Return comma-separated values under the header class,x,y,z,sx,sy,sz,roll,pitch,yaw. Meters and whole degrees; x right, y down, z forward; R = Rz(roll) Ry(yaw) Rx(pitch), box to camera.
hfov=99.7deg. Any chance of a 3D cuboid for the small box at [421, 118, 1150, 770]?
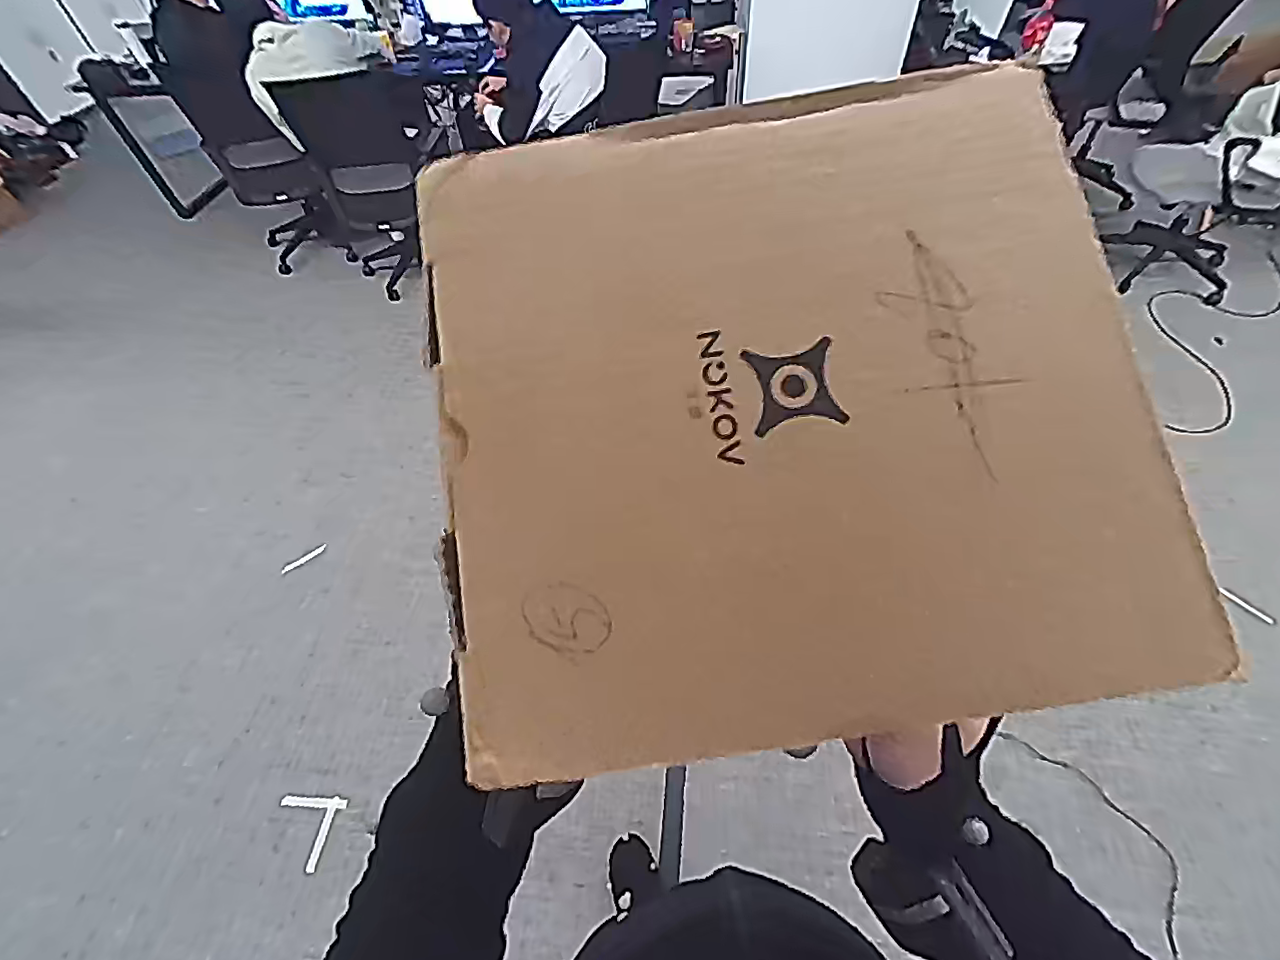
class,x,y,z,sx,sy,sz,roll,pitch,yaw
small box,0.033,-0.002,0.230,0.179,0.176,0.168,-10,79,1
